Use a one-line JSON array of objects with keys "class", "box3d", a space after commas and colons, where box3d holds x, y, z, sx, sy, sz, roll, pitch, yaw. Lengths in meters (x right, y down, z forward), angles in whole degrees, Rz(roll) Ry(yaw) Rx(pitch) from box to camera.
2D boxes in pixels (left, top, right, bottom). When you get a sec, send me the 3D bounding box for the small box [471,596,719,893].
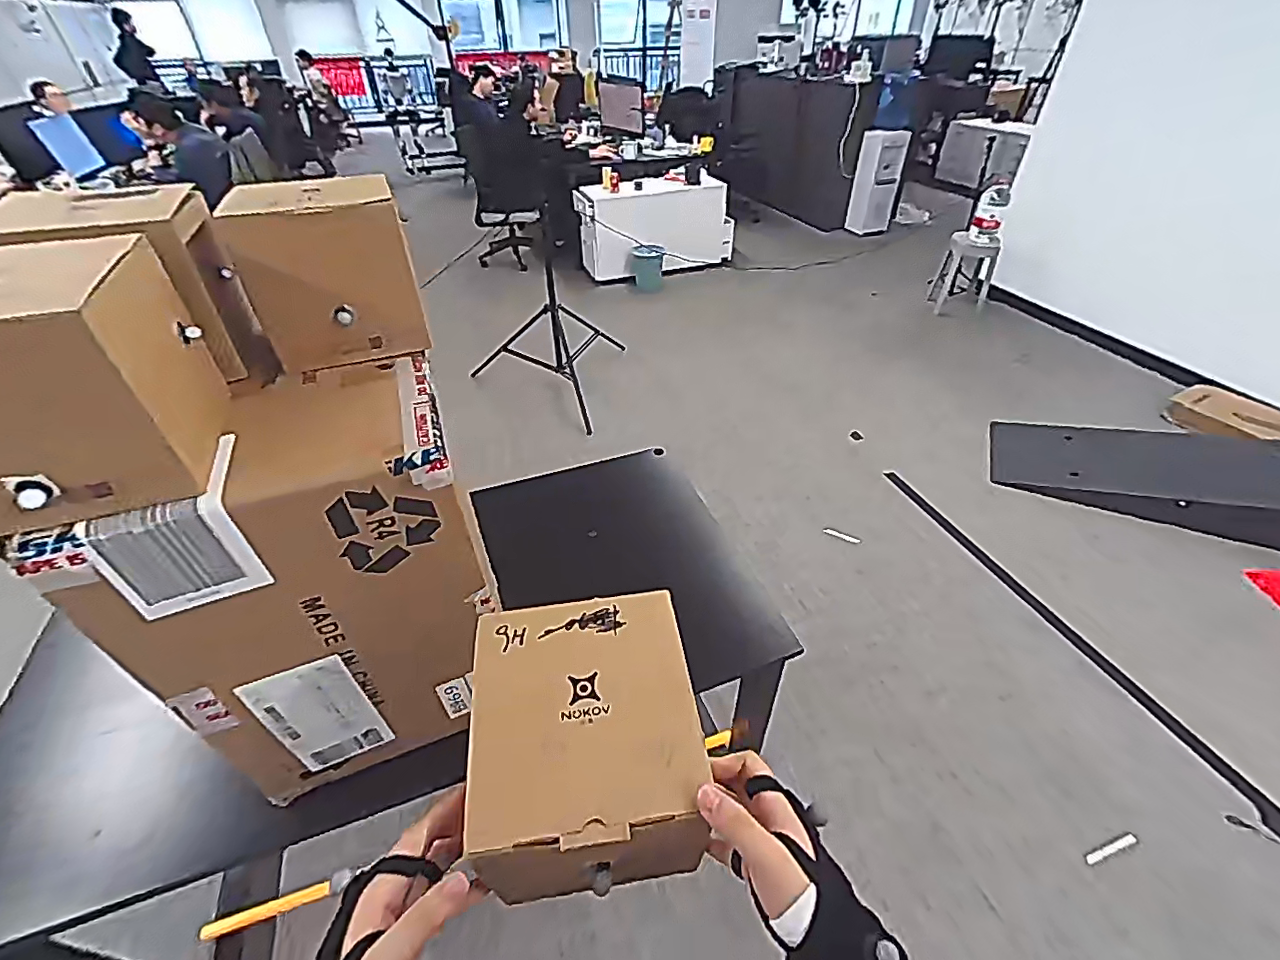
[{"class": "small box", "box3d": [-0.038, 0.227, 0.460, 0.168, 0.176, 0.179, -6, 45, -7]}]
